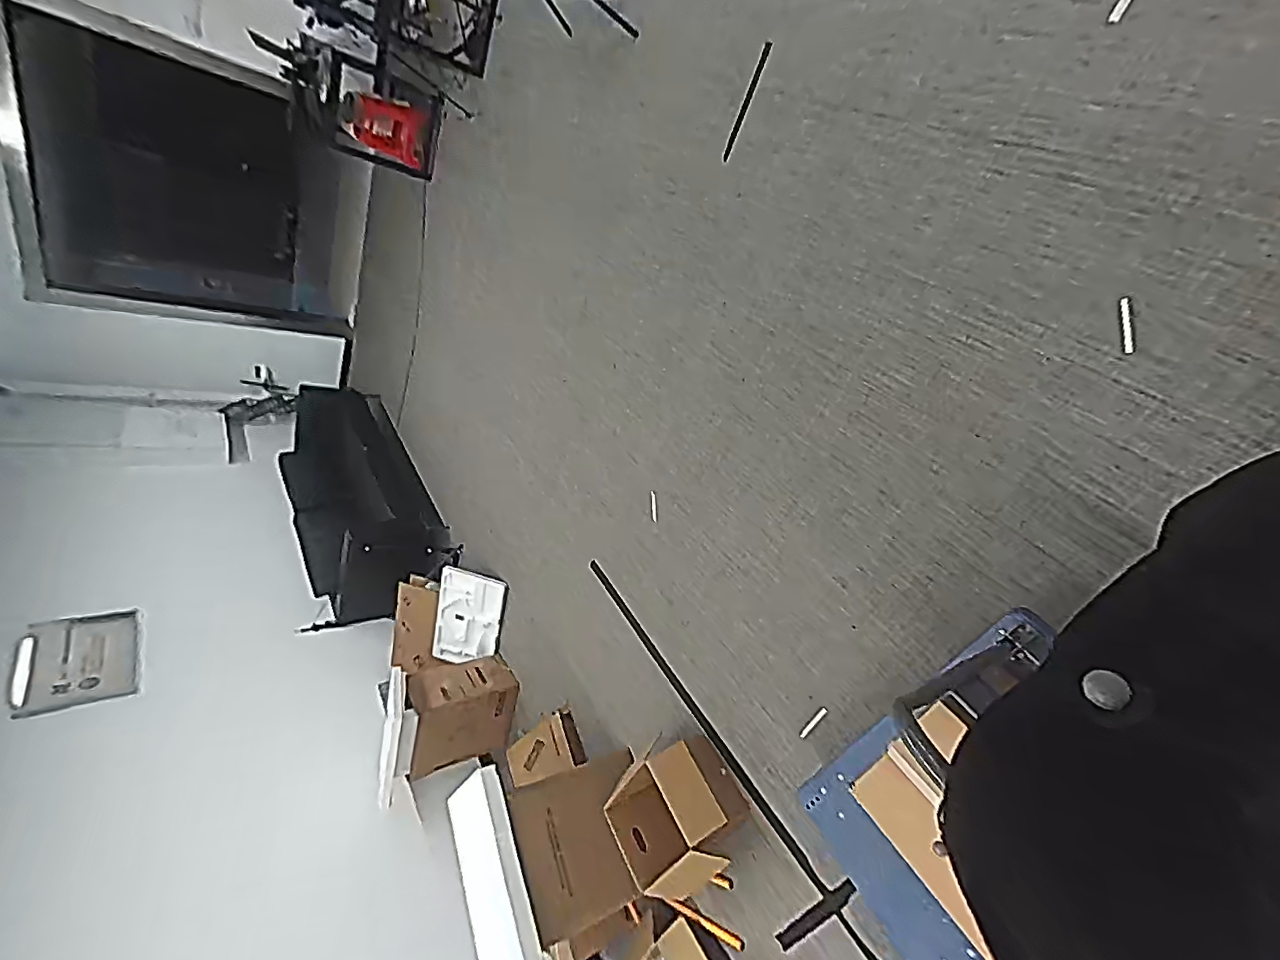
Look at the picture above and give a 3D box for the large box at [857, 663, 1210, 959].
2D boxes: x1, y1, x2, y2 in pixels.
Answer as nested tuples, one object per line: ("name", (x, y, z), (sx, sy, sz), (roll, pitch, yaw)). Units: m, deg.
("large box", (0.730, 0.636, 1.042), (0.408, 0.320, 0.320), (49, 126, 38))
